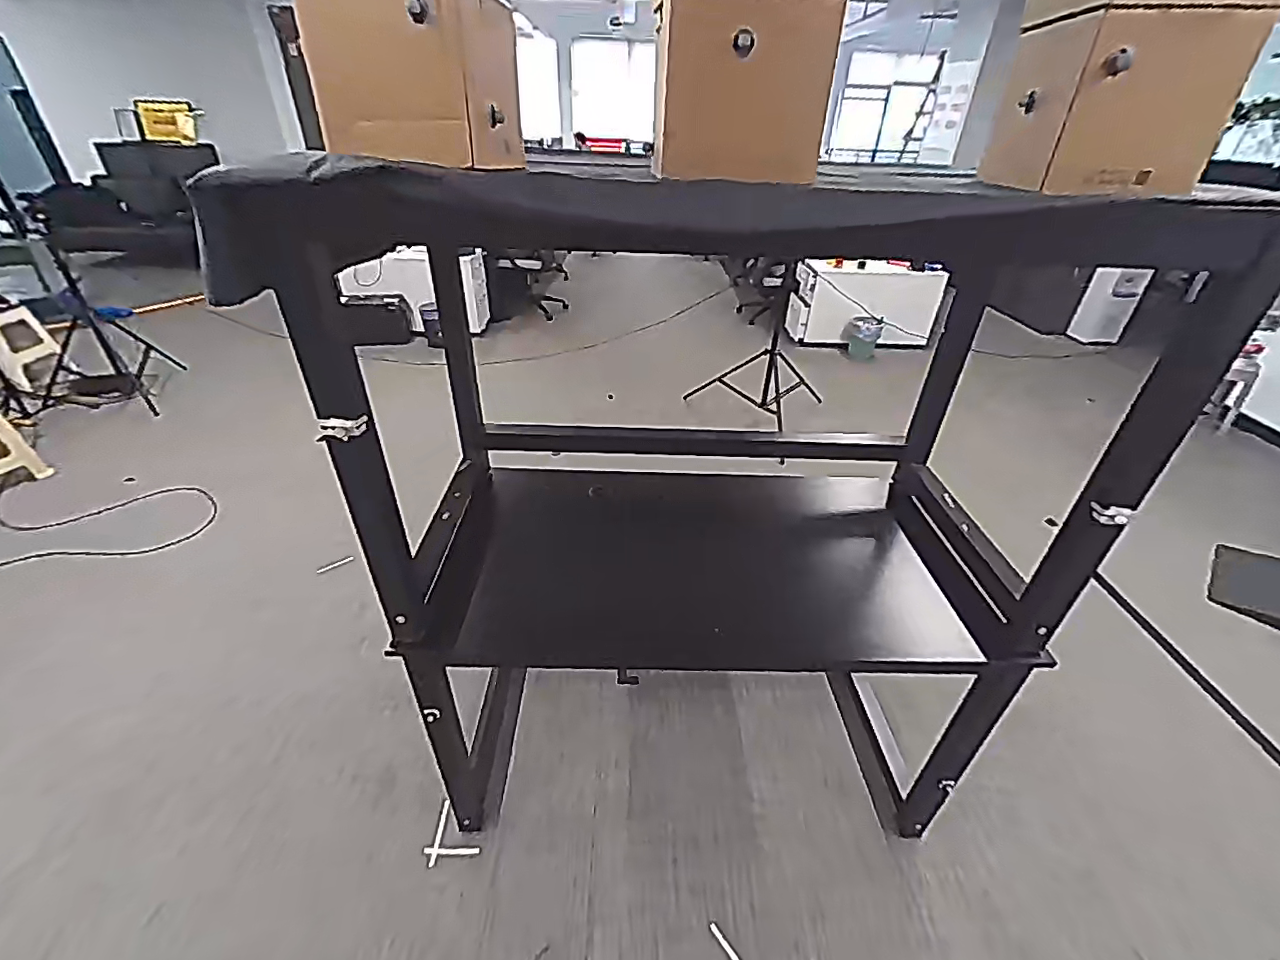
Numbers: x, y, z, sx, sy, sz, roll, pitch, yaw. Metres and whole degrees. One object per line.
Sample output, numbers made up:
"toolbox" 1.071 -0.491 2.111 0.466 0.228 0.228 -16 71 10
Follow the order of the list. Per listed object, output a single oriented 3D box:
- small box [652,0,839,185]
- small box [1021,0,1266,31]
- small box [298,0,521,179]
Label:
"small box" 0.106 -0.443 0.631 0.179 0.176 0.168 0 32 -4
"small box" 0.540 -0.579 0.554 0.168 0.176 0.179 2 33 3
"small box" -0.249 -0.448 0.622 0.179 0.176 0.168 6 31 6
